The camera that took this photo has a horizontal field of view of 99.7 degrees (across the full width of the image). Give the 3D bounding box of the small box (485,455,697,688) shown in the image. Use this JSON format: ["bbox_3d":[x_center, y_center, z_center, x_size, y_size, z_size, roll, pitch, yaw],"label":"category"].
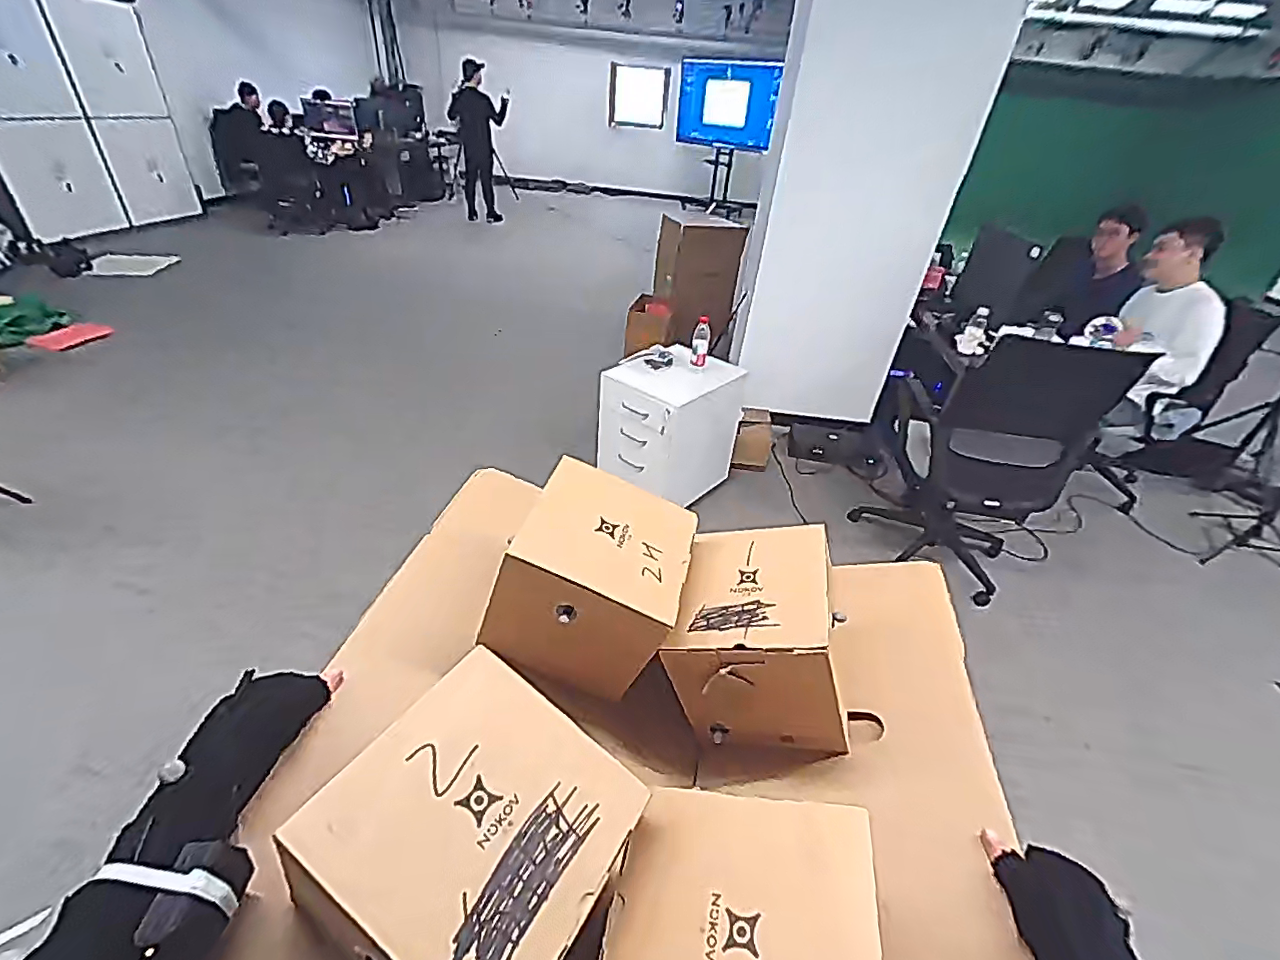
[{"bbox_3d":[-0.058,0.108,0.622,0.179,0.176,0.168,26,40,-3],"label":"small box"}]
